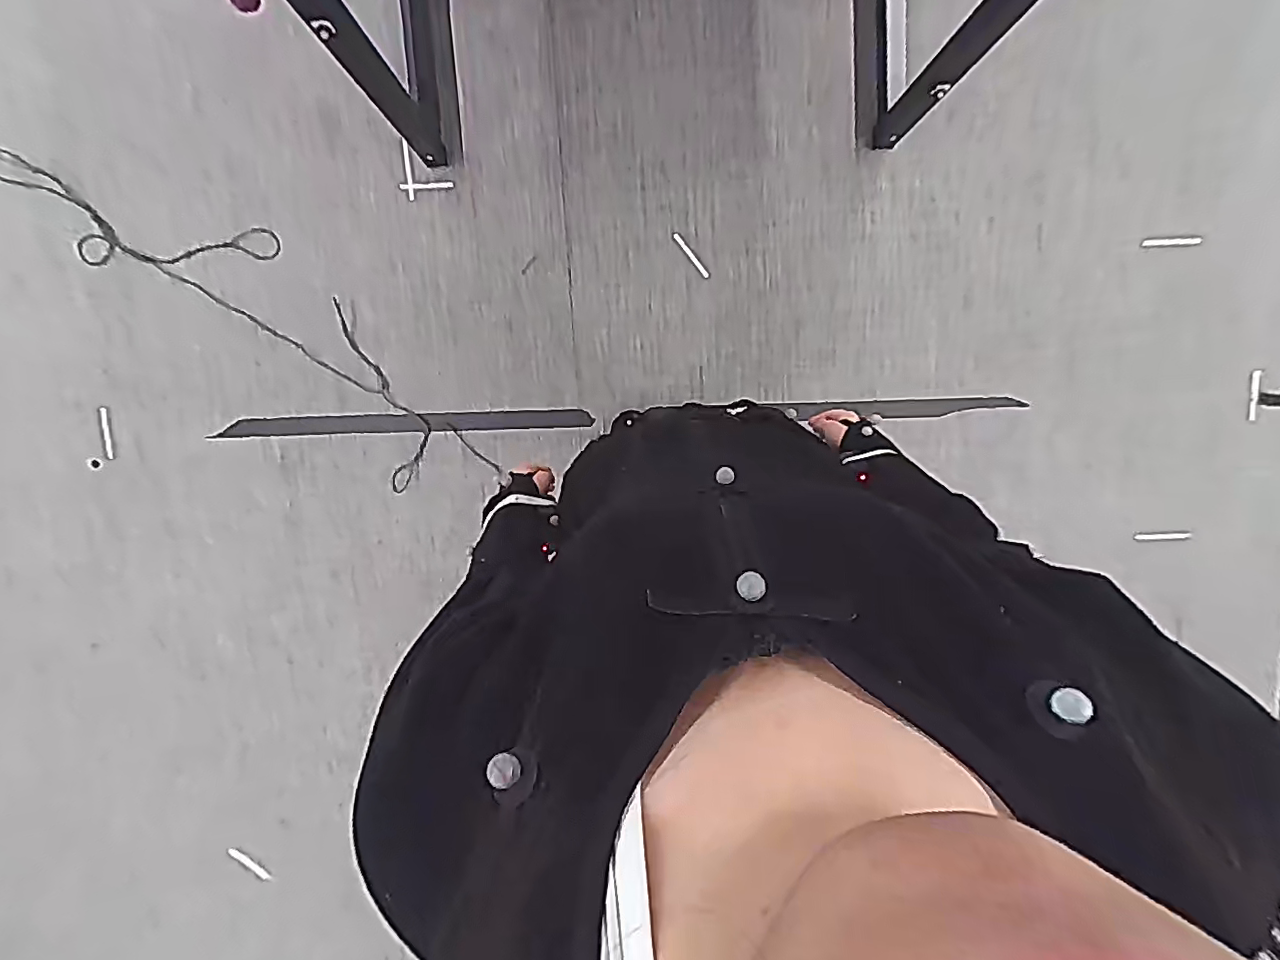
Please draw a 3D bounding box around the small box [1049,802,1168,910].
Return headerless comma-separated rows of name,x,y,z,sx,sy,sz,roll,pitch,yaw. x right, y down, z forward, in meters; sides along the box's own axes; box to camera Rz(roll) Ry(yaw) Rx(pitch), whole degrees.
small box,1.365,1.090,1.590,0.168,0.176,0.179,-40,98,5
